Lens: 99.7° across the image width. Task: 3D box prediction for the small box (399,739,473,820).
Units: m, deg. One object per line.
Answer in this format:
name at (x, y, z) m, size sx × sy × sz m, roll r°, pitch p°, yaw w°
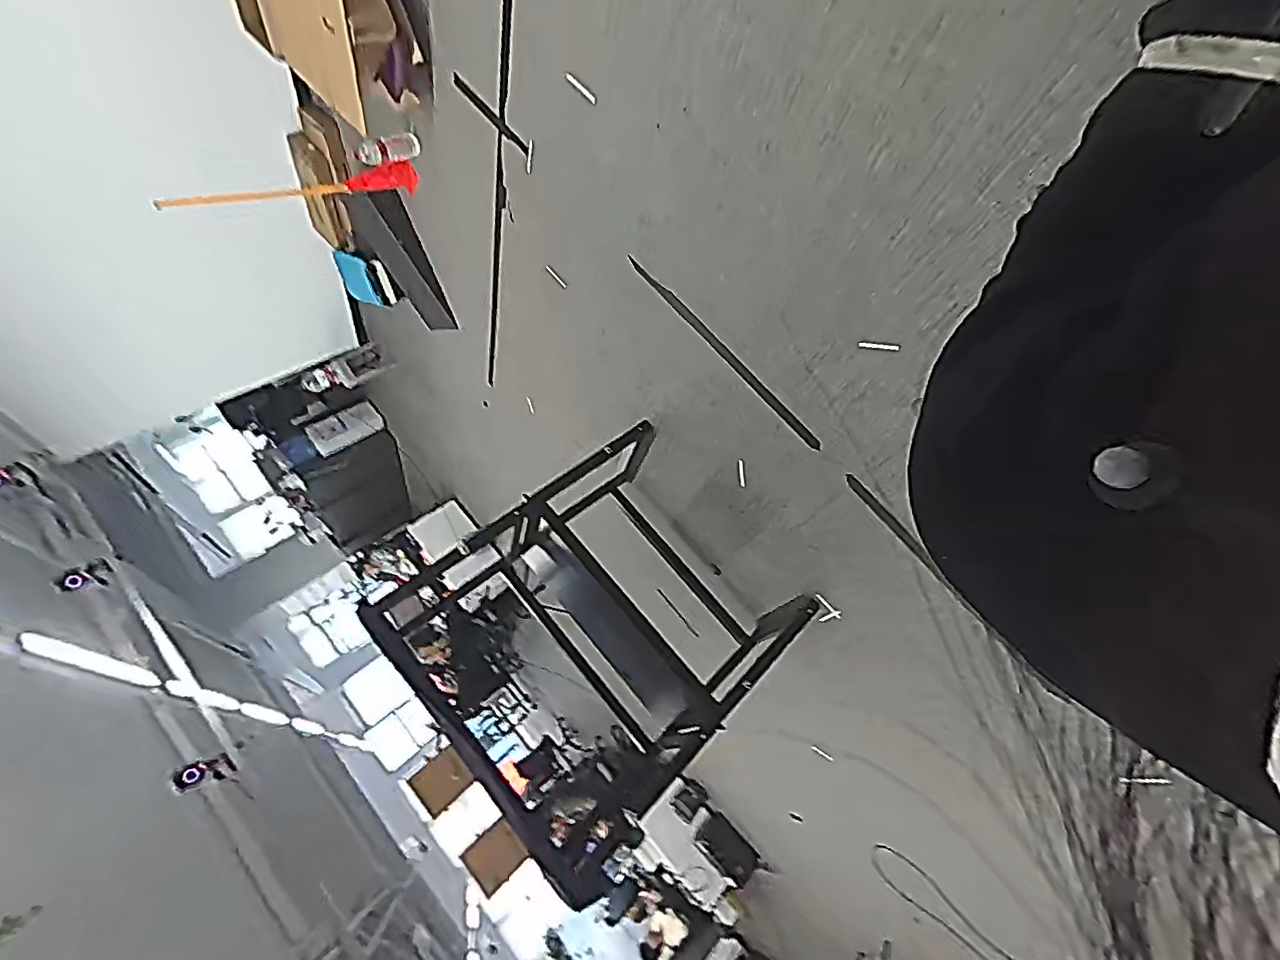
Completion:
small box at (-0.678, 0.994, 1.811) m, size 0.168 × 0.176 × 0.179 m, roll 49°, pitch 151°, yaw 7°
